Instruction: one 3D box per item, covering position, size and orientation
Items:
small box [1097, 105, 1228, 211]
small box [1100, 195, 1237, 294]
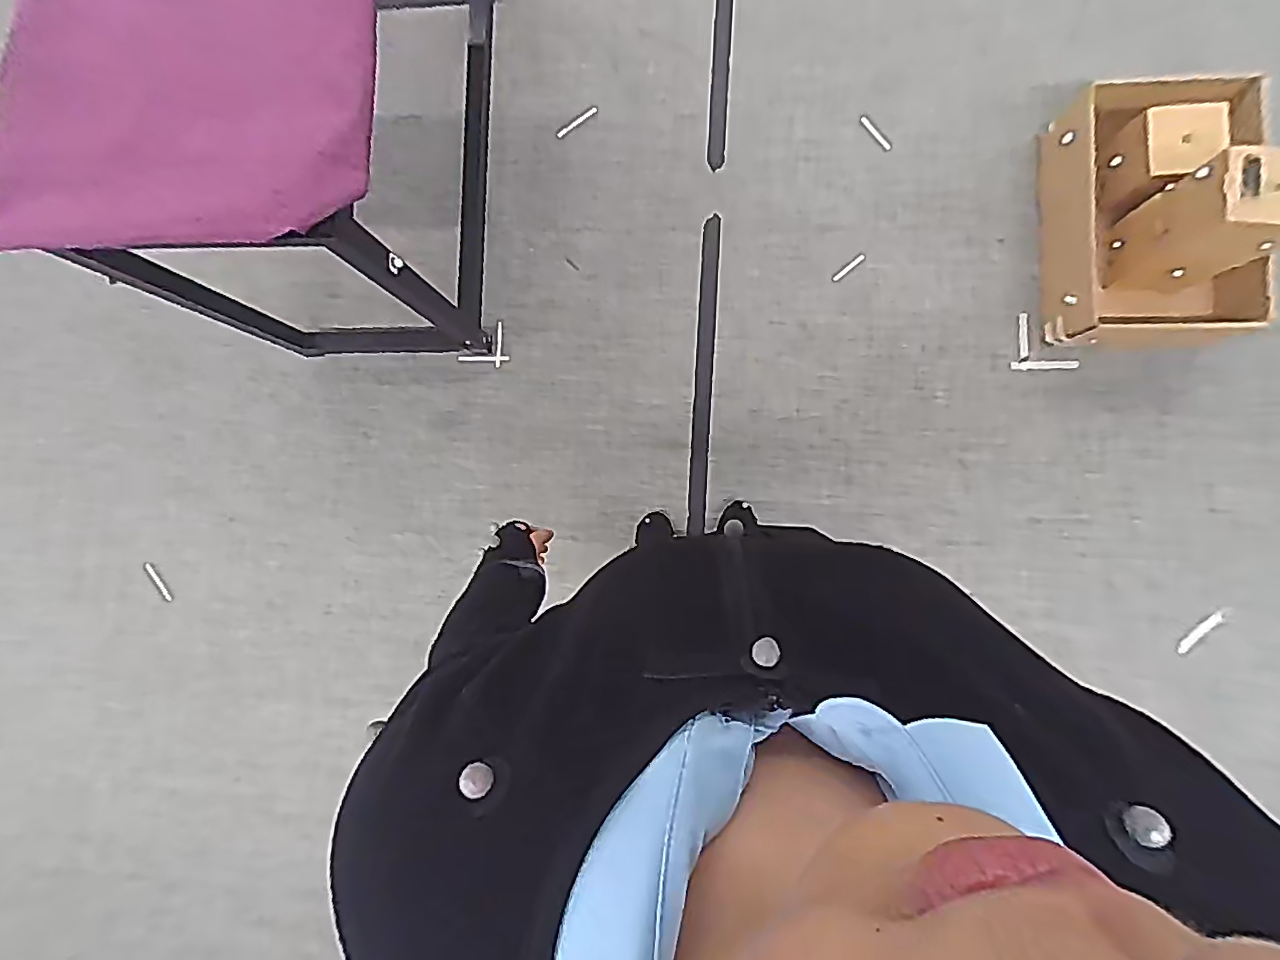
[{"bbox_3d":[1.283,-0.789,1.342,0.179,0.176,0.168,0,89,5],"label":"small box"},{"bbox_3d":[1.298,-0.573,1.335,0.179,0.176,0.168,6,86,6],"label":"small box"}]
